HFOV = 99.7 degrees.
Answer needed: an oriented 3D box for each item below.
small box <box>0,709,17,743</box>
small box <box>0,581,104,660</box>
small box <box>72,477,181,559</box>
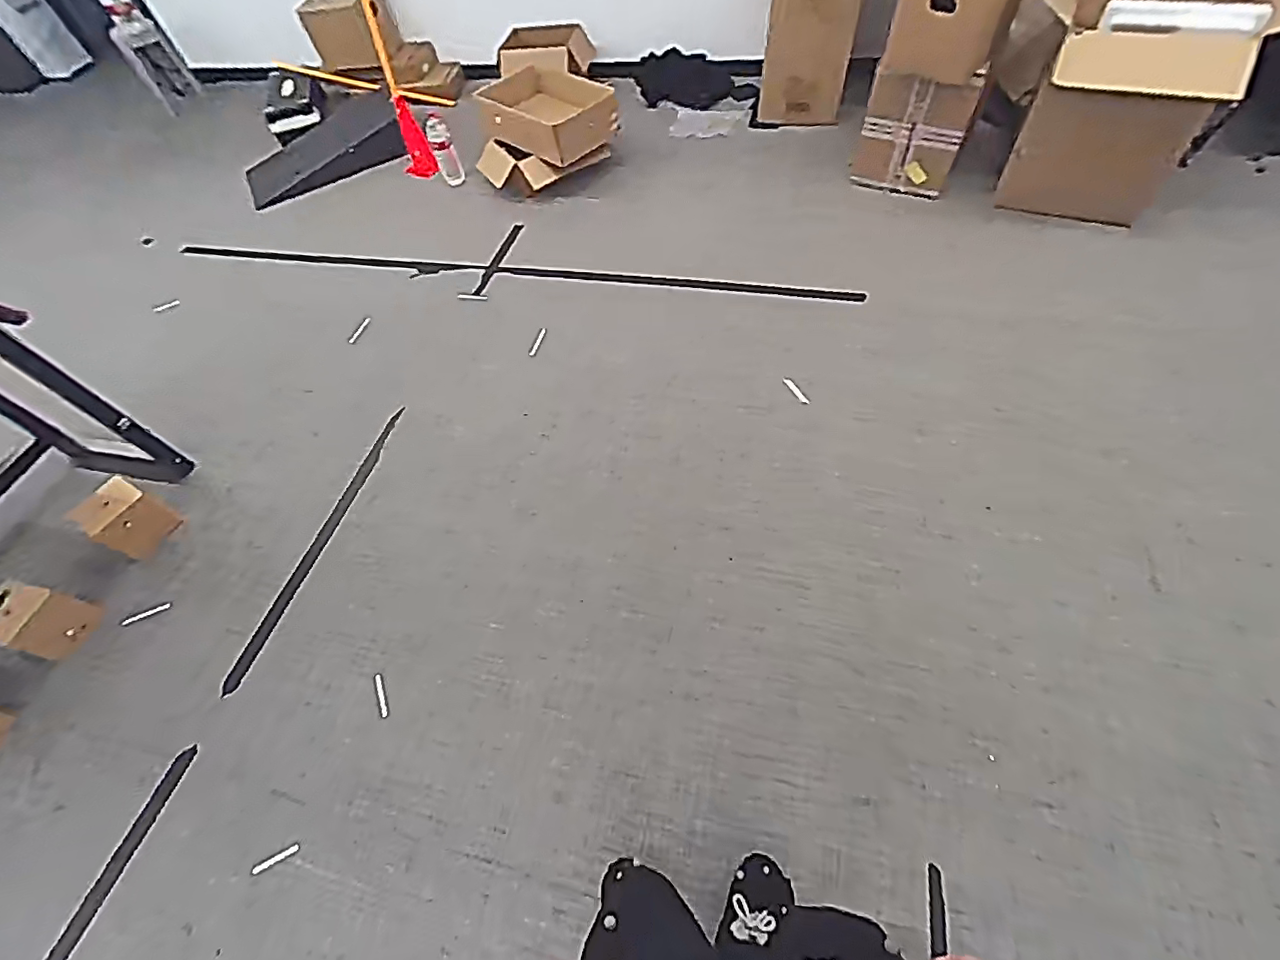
[{"bbox_3d":[-1.858,0.678,1.436,0.179,0.176,0.168,10,59,14],"label":"small box"},{"bbox_3d":[-1.771,0.418,1.594,0.179,0.176,0.168,9,59,12],"label":"small box"},{"bbox_3d":[-1.667,0.127,1.773,0.168,0.176,0.179,25,64,20],"label":"small box"}]
